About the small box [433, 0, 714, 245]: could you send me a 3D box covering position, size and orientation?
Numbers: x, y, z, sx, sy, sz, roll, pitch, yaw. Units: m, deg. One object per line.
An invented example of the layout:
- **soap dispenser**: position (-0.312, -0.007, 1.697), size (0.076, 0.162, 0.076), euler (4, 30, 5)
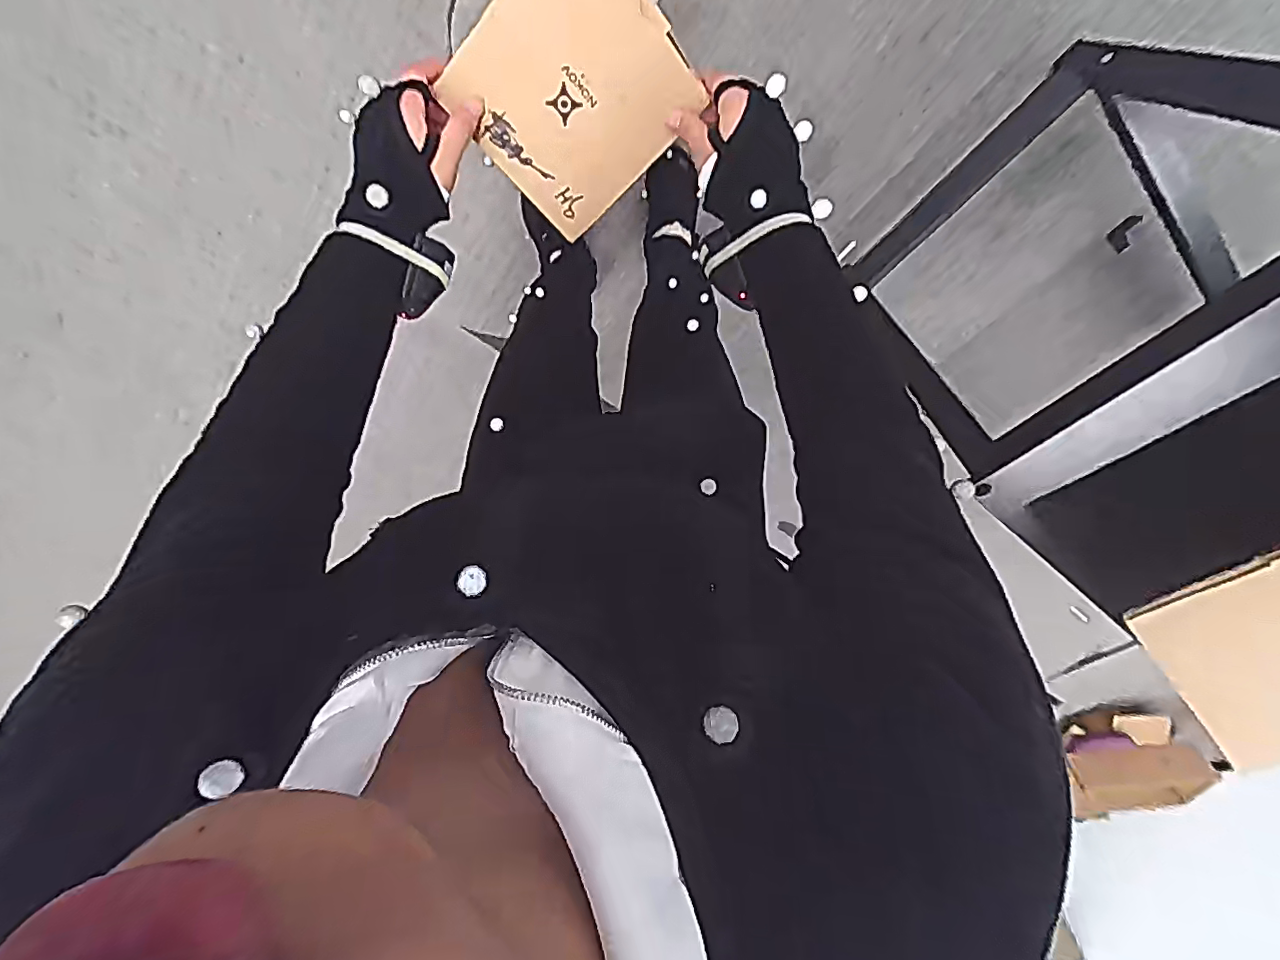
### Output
- **small box**: position (-0.058, -0.366, 0.505), size (0.179, 0.176, 0.168), euler (-35, 124, 24)
